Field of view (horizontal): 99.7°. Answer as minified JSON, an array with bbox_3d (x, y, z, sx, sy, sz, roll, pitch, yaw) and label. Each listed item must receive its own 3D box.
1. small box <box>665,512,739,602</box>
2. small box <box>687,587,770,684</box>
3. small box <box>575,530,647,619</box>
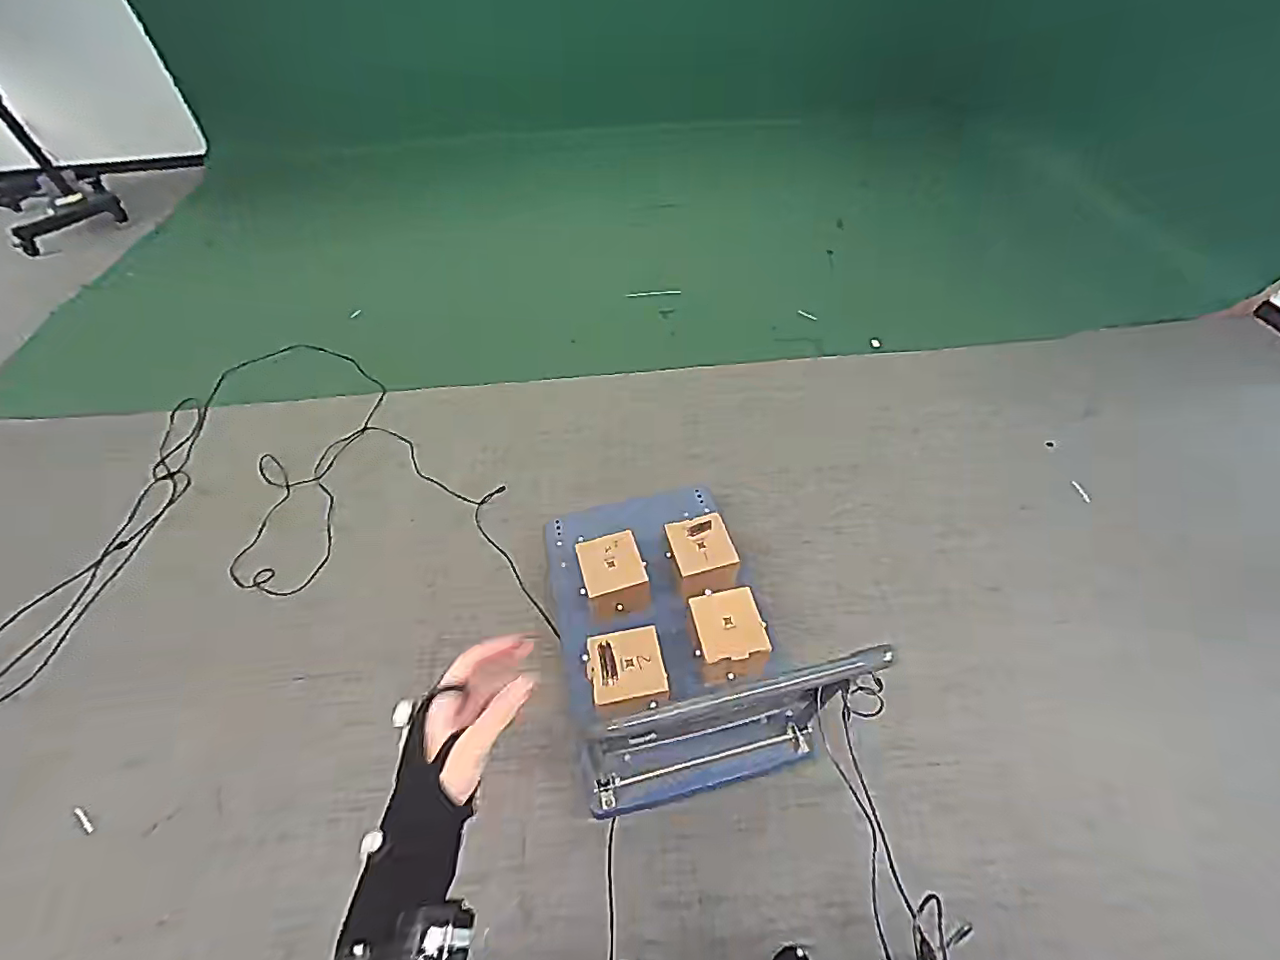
[{"bbox_3d":[0.170,0.224,1.560,0.168,0.176,0.179,-14,52,-7],"label":"small box"},{"bbox_3d":[0.222,0.407,1.411,0.168,0.176,0.179,-11,52,-6],"label":"small box"},{"bbox_3d":[-0.079,0.275,1.532,0.168,0.176,0.179,-14,51,-9],"label":"small box"}]
